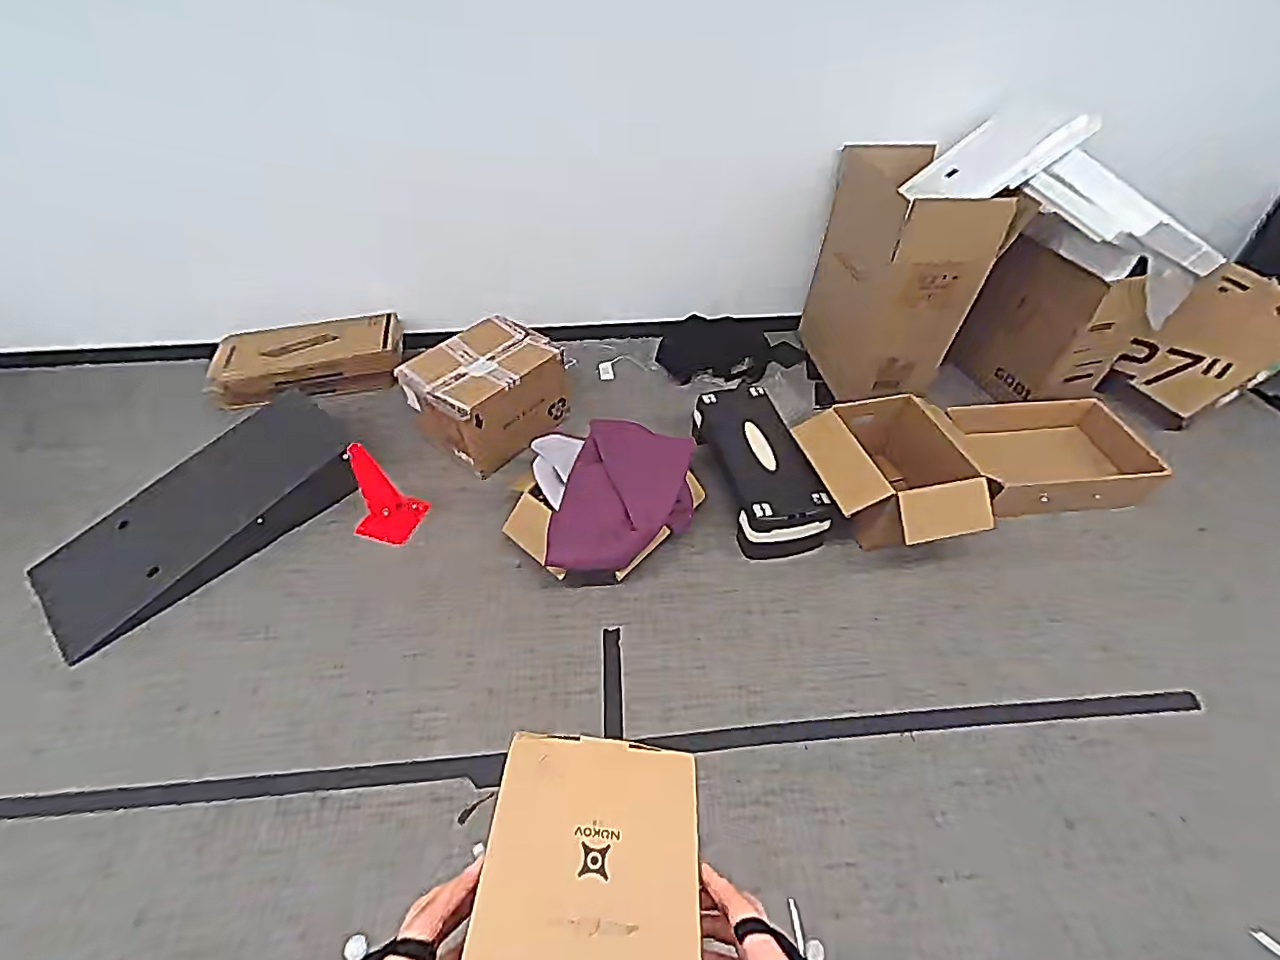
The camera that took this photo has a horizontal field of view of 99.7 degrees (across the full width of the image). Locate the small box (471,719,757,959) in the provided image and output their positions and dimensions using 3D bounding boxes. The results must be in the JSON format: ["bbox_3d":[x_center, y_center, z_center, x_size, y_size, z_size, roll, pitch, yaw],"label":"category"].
[{"bbox_3d":[-0.025,0.303,0.388,0.168,0.176,0.179,9,40,-5],"label":"small box"}]
